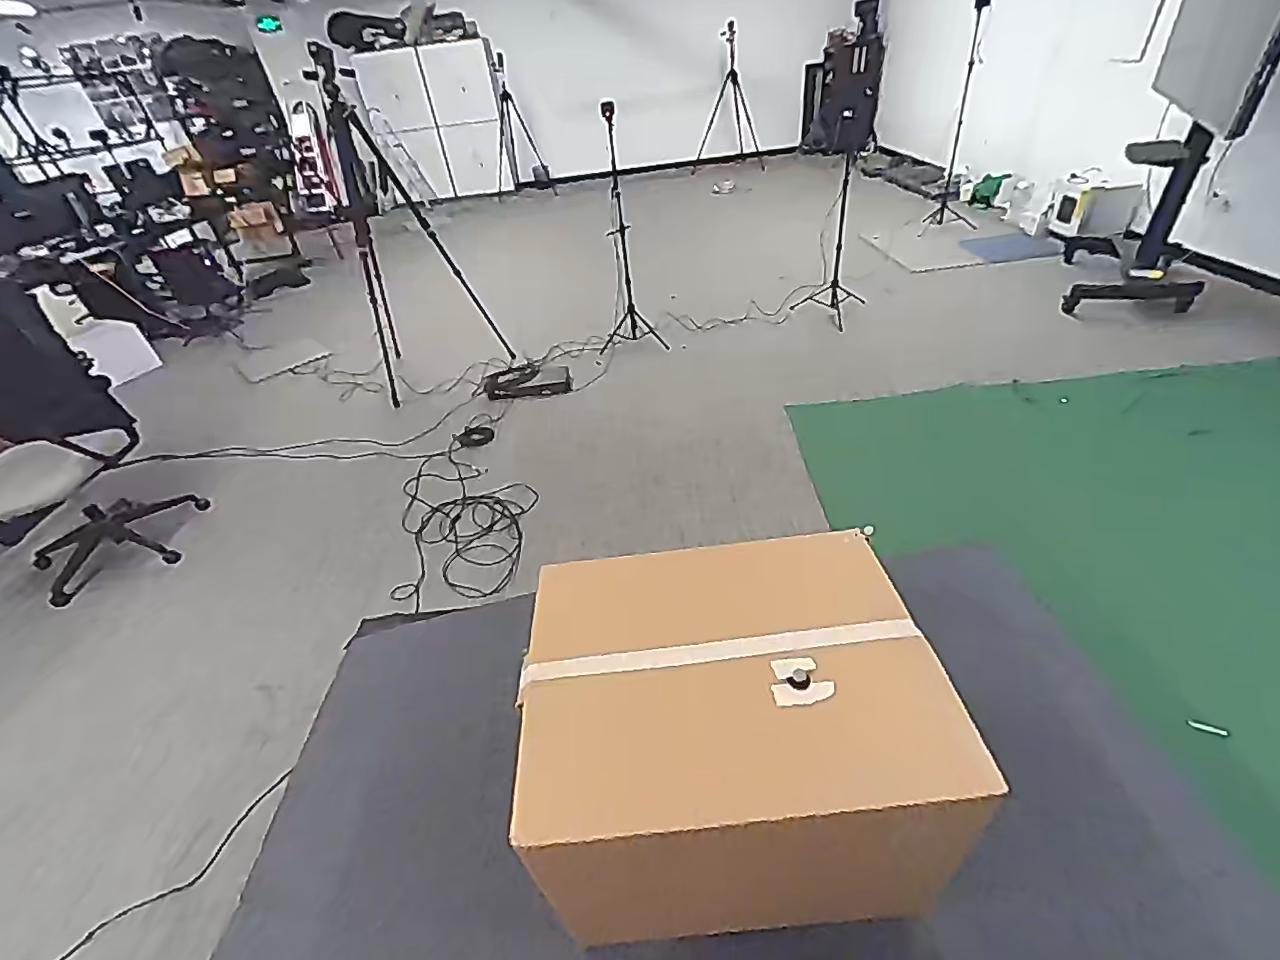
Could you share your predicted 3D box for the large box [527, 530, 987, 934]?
[{"bbox_3d":[0.102,0.298,0.661,0.408,0.320,0.320,-7,38,1],"label":"large box"}]
